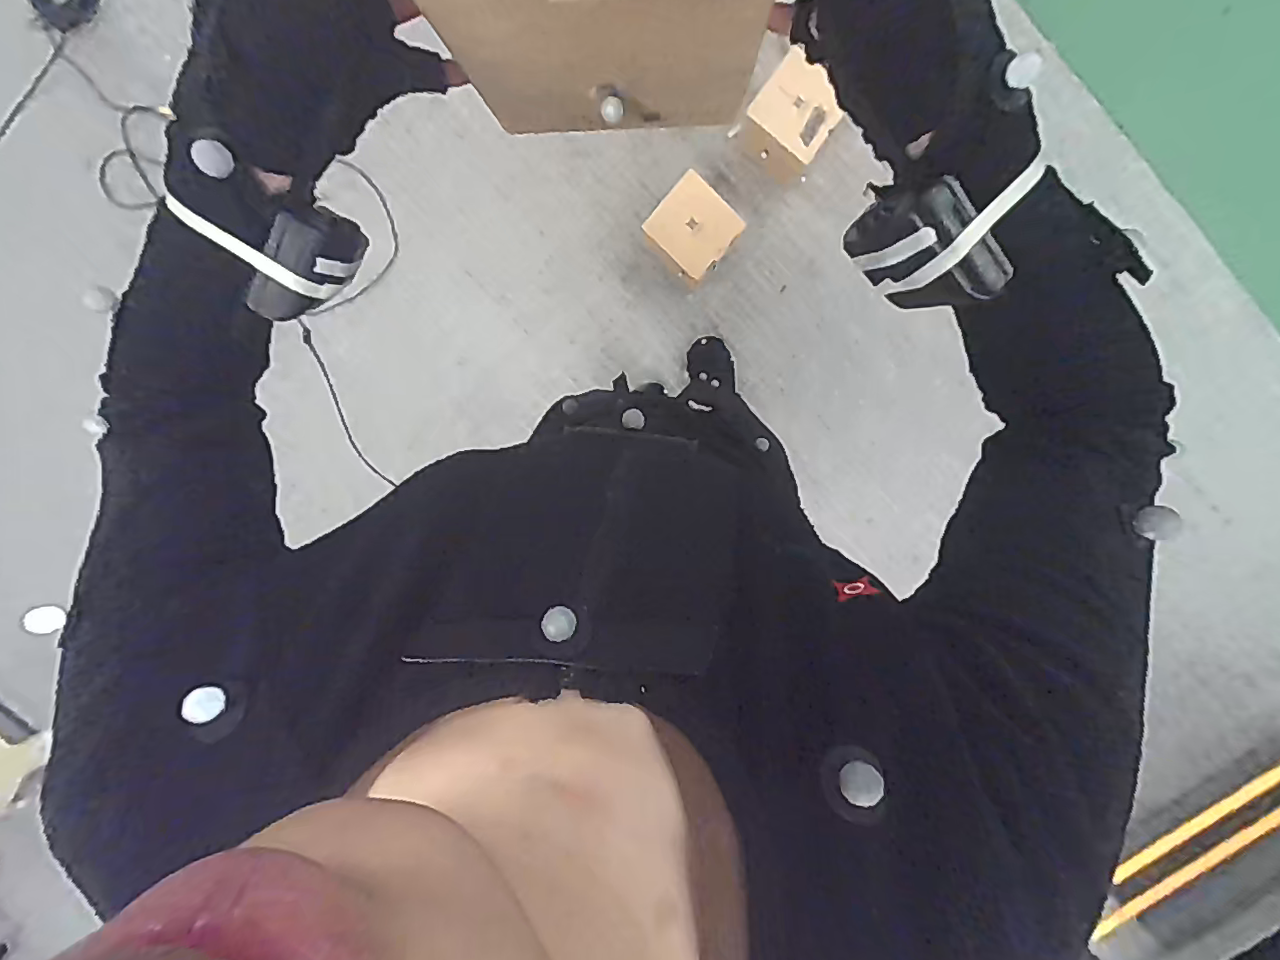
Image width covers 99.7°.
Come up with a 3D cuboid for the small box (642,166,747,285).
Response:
[{"bbox_3d":[0.122,-0.584,1.269,0.179,0.176,0.168,41,101,-6],"label":"small box"}]

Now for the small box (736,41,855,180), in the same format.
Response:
[{"bbox_3d":[0.338,-0.810,1.213,0.179,0.176,0.168,37,100,-4],"label":"small box"}]
